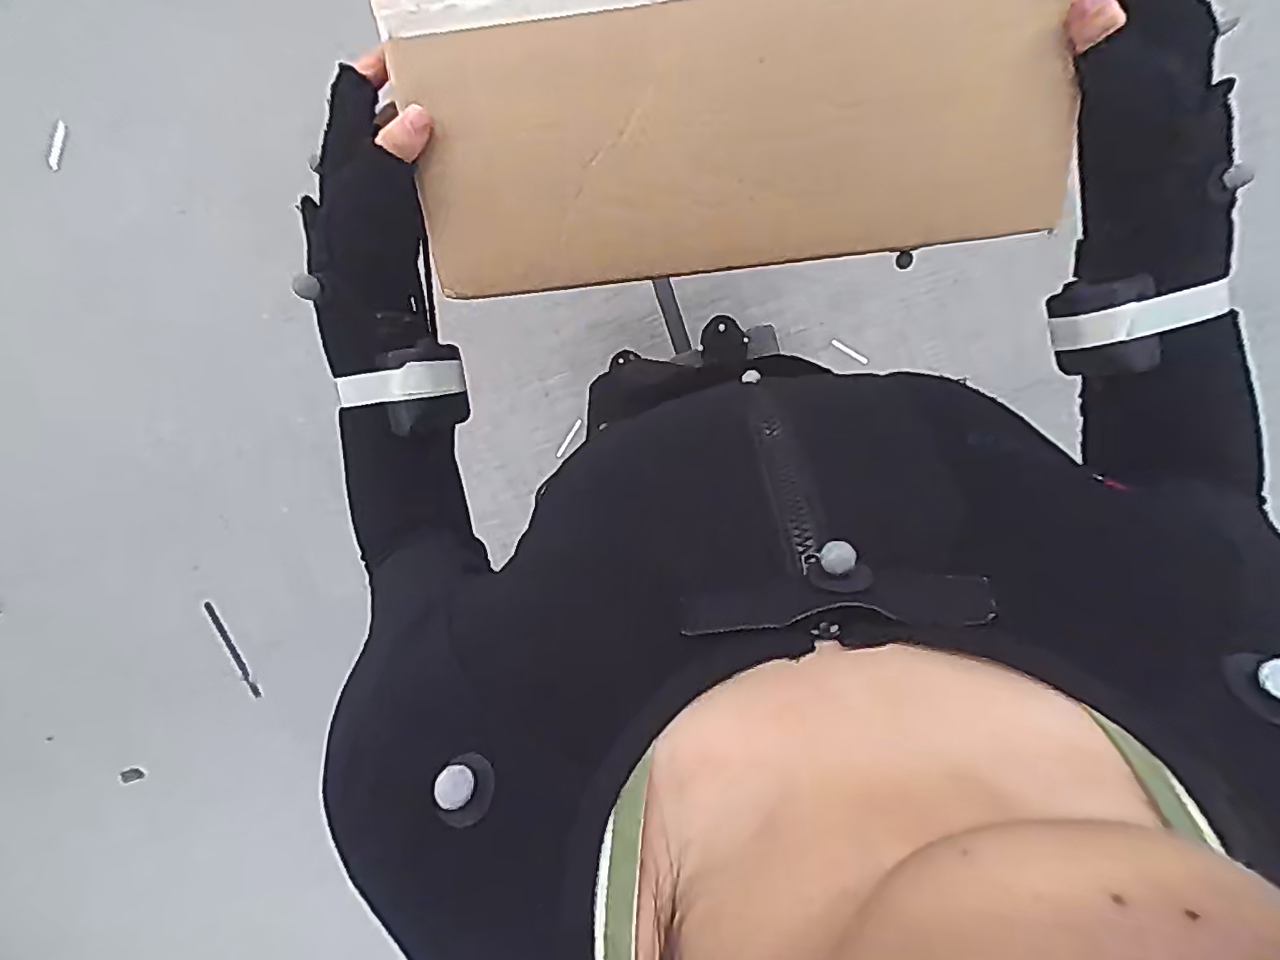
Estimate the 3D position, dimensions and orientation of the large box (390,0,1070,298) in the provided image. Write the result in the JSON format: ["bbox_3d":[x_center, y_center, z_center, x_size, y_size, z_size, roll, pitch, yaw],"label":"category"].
[{"bbox_3d":[0.053,-0.347,0.448,0.408,0.320,0.320,-5,112,2],"label":"large box"}]

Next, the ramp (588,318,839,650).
[{"bbox_3d":[0.259,0.079,1.610,0.509,0.206,0.991,-21,103,7],"label":"ramp"}]
